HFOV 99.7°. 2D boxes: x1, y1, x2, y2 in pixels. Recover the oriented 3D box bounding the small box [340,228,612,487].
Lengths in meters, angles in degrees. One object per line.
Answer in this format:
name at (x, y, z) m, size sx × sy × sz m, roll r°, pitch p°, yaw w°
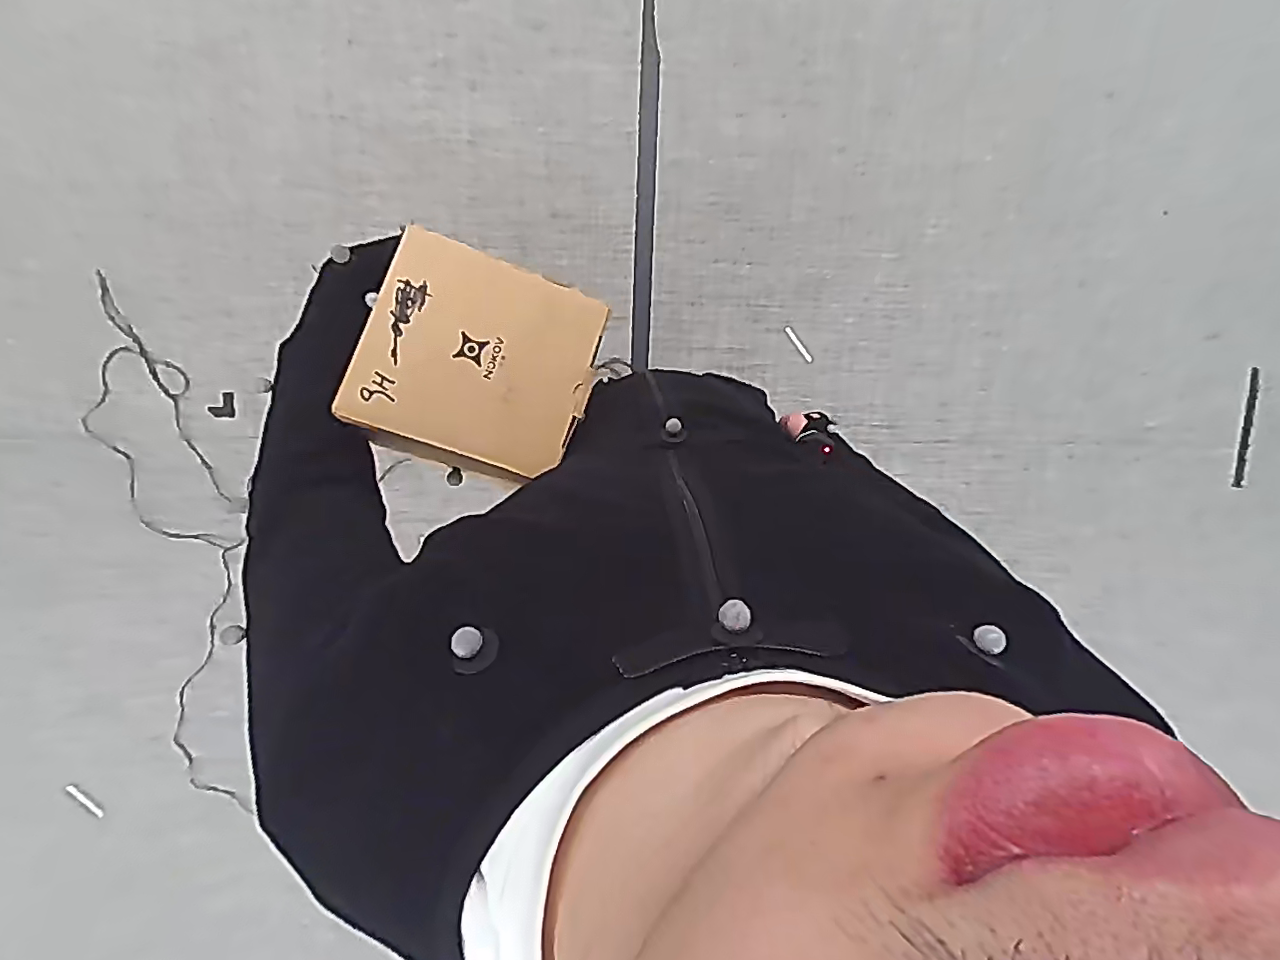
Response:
small box at (-0.148, -0.095, 0.519) m, size 0.179 × 0.176 × 0.168 m, roll 19°, pitch 80°, yaw -13°
